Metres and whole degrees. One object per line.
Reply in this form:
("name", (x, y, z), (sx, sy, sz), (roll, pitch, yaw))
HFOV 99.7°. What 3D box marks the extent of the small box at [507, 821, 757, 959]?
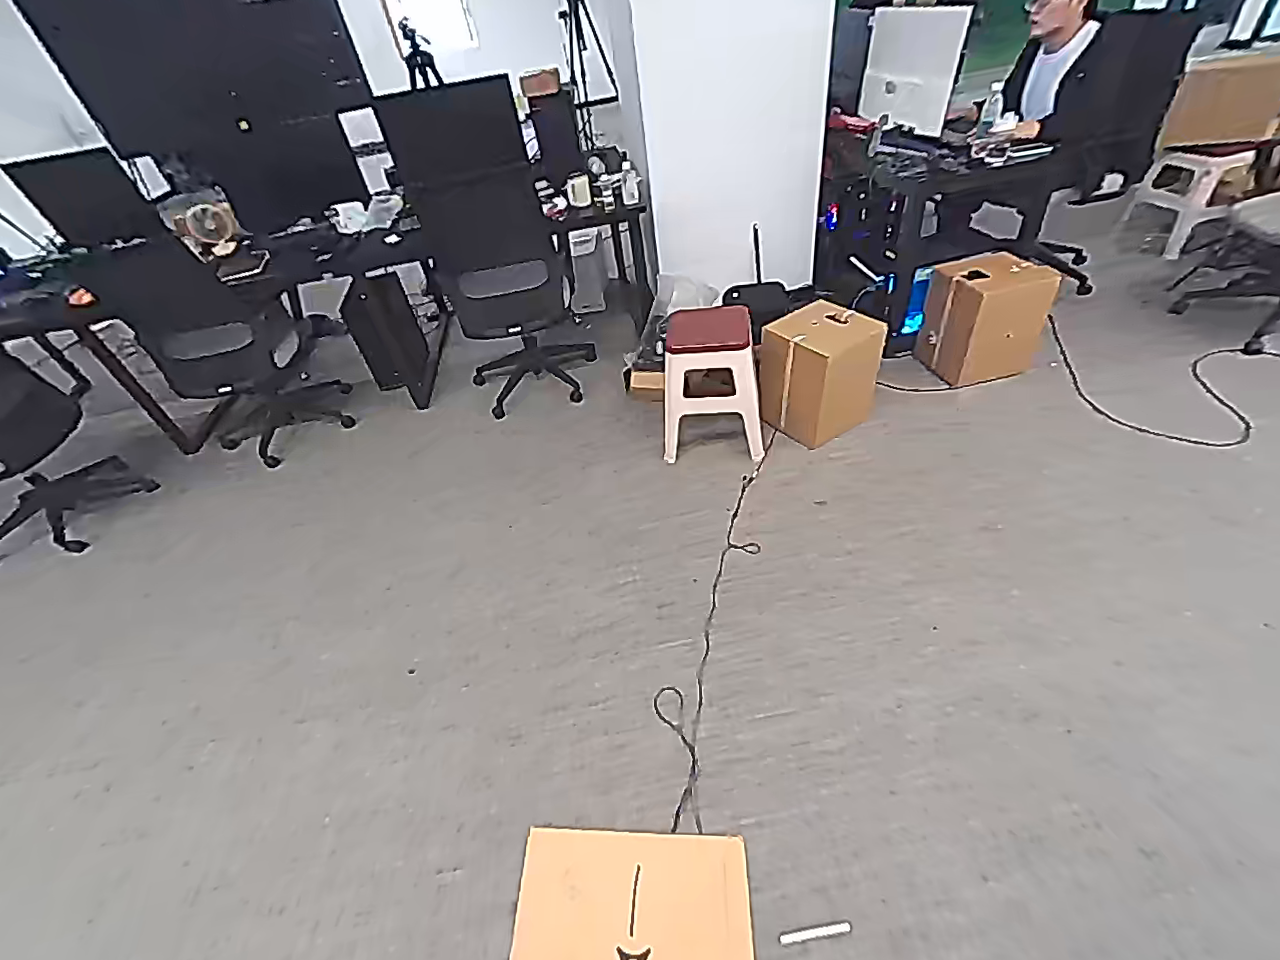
("small box", (-0.006, 0.376, 0.398), (0.168, 0.176, 0.179), (3, 44, 1))
